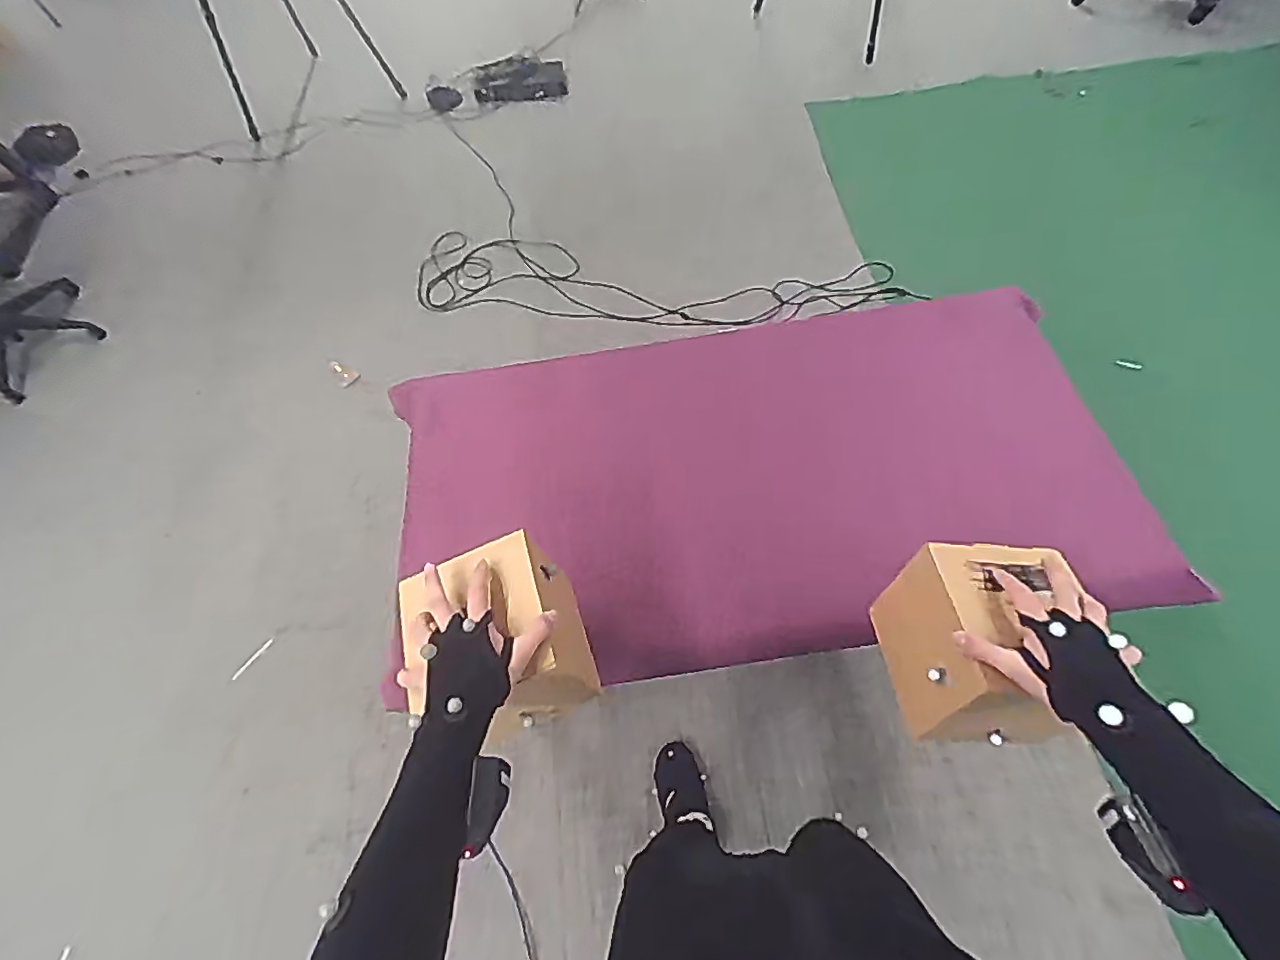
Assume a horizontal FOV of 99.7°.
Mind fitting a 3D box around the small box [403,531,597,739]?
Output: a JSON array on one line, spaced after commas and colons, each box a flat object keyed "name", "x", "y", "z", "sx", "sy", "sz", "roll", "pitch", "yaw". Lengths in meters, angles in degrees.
[{"name": "small box", "x": -0.170, "y": 0.199, "z": 0.675, "sx": 0.168, "sy": 0.176, "sz": 0.179, "roll": -23, "pitch": 55, "yaw": 1}]
